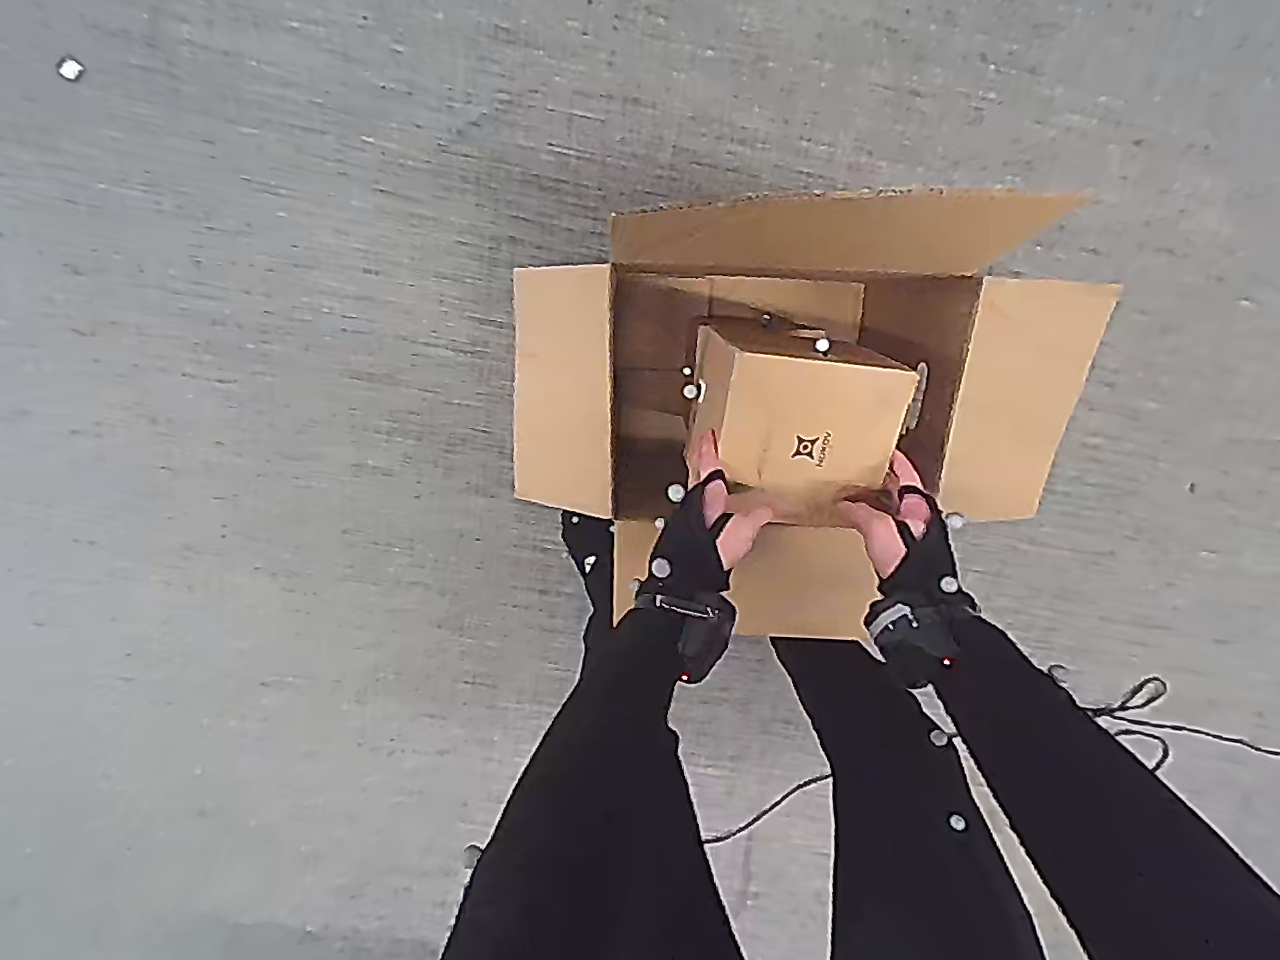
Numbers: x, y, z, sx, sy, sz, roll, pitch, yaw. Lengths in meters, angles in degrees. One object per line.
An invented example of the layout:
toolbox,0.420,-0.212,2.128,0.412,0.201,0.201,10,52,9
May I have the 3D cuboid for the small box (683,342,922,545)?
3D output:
small box,0.155,-0.048,0.582,0.179,0.176,0.168,7,110,-7
